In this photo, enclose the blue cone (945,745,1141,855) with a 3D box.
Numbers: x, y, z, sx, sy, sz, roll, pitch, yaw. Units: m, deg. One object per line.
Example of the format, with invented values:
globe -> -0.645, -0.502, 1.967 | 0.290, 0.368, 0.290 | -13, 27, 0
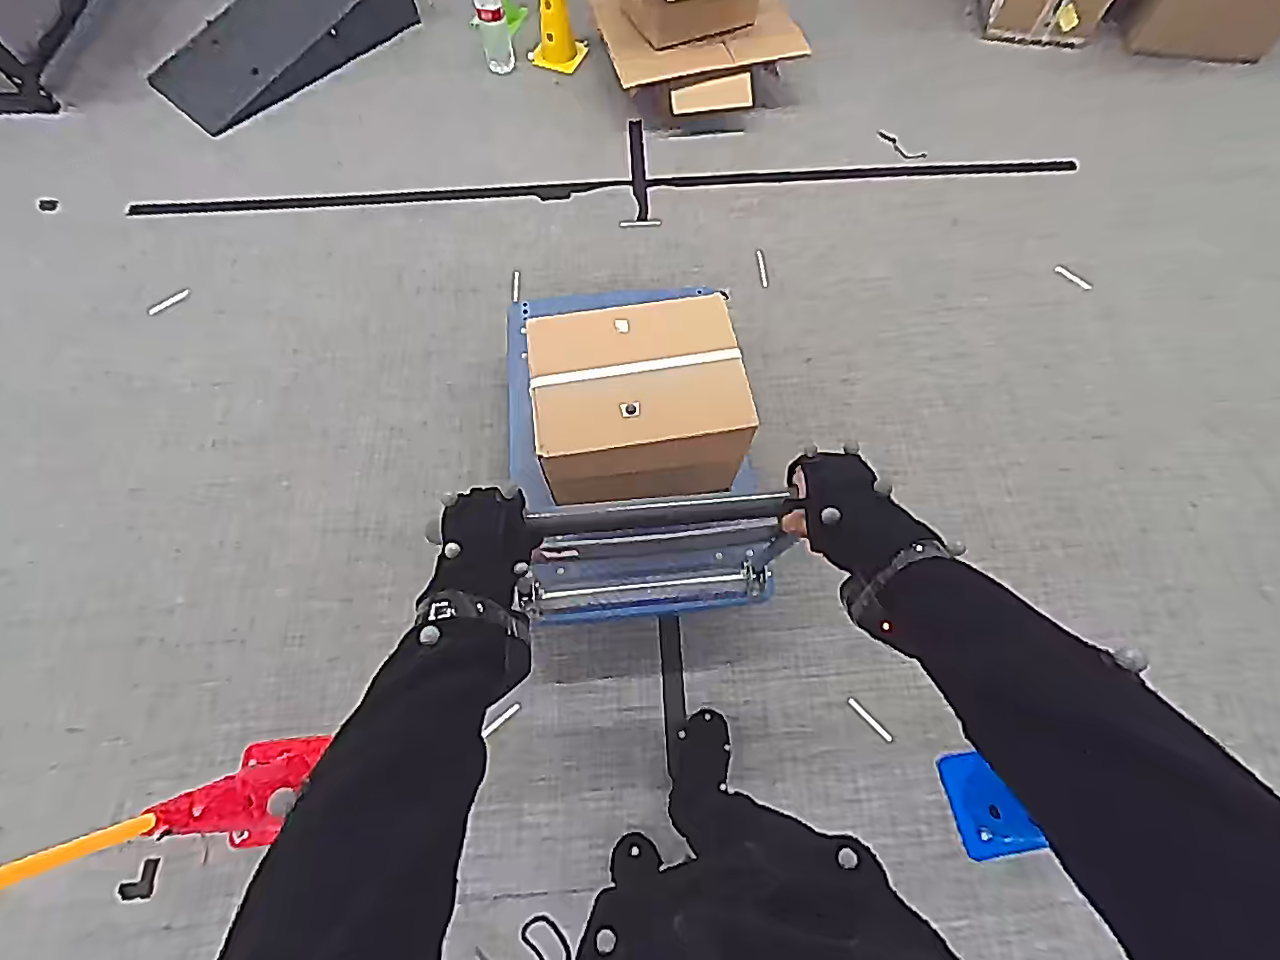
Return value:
blue cone -> 0.778, 0.625, 1.022 | 0.193, 0.380, 0.192 | -7, 66, -4
